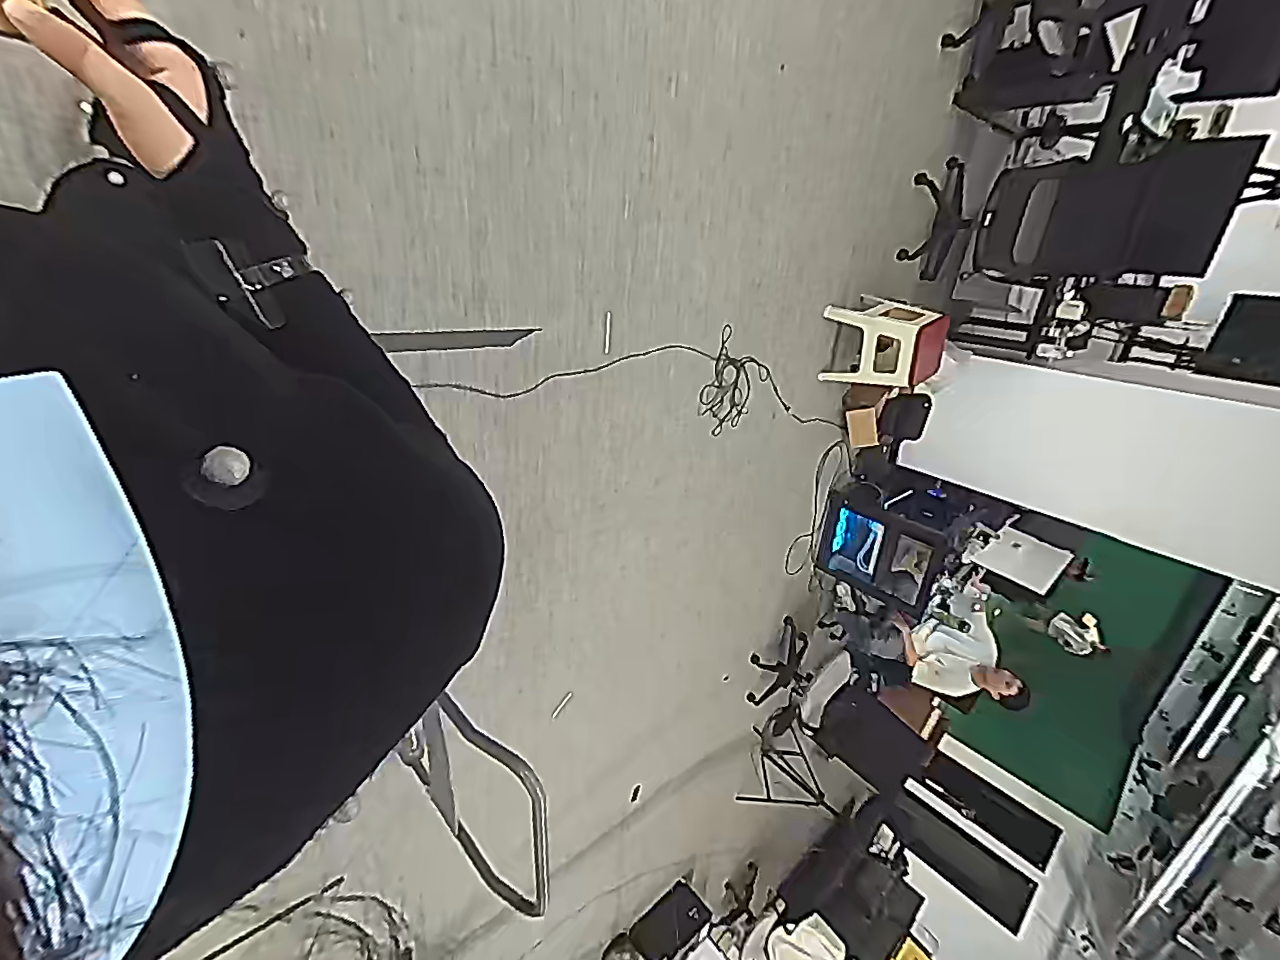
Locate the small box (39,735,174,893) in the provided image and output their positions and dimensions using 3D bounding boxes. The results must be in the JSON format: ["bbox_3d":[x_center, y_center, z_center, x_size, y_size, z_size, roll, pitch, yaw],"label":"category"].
[{"bbox_3d":[-1.075,0.666,1.099,0.168,0.176,0.179,-14,119,-42],"label":"small box"}]
